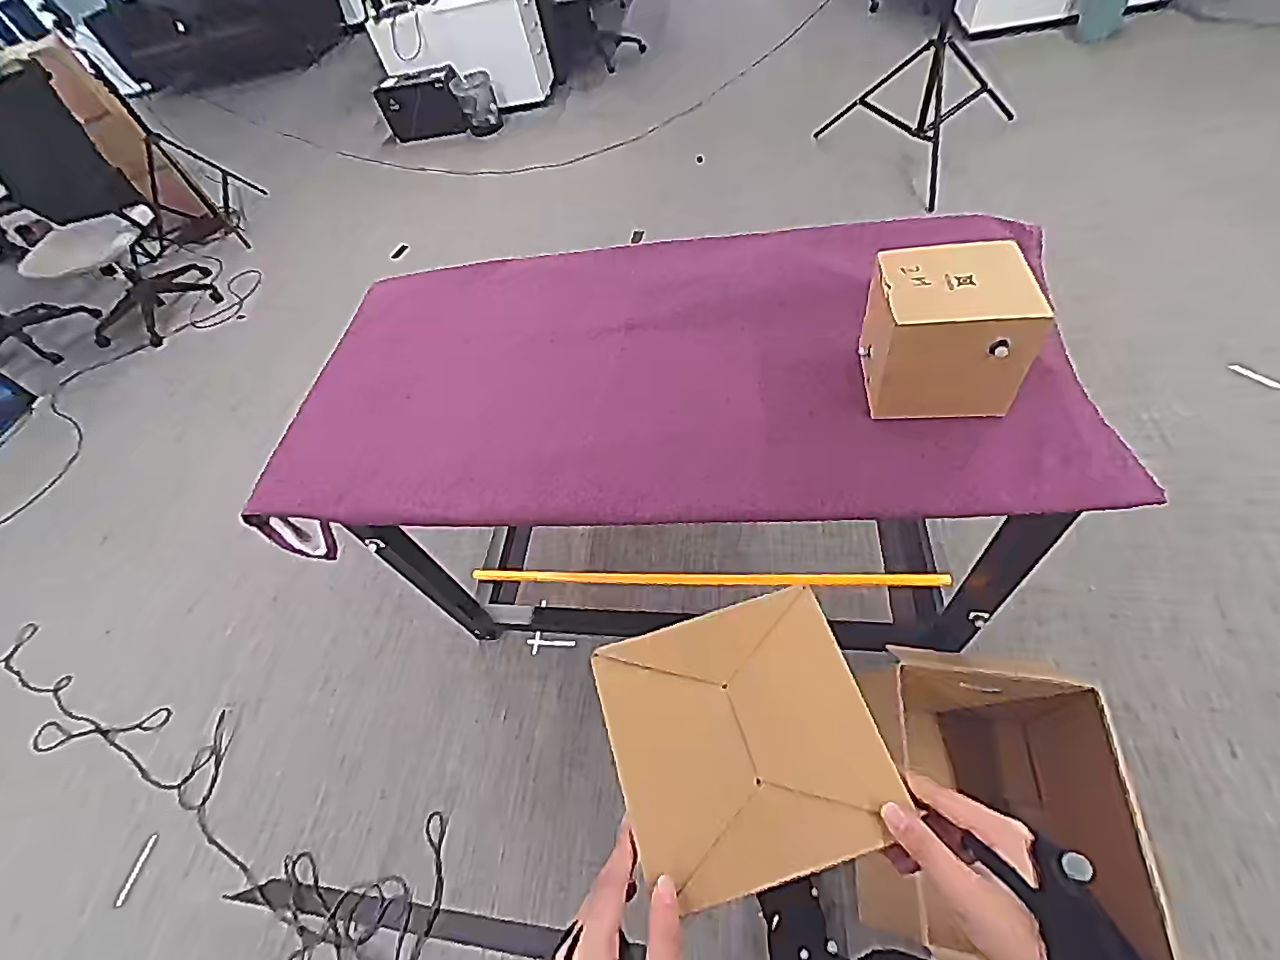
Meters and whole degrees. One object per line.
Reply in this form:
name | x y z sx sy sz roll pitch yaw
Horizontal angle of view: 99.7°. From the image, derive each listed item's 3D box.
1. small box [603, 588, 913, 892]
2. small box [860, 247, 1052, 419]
small box | 0.077 0.205 0.437 0.179 0.176 0.168 -16 59 -4
small box | 0.420 -0.198 0.755 0.179 0.176 0.168 0 52 12
